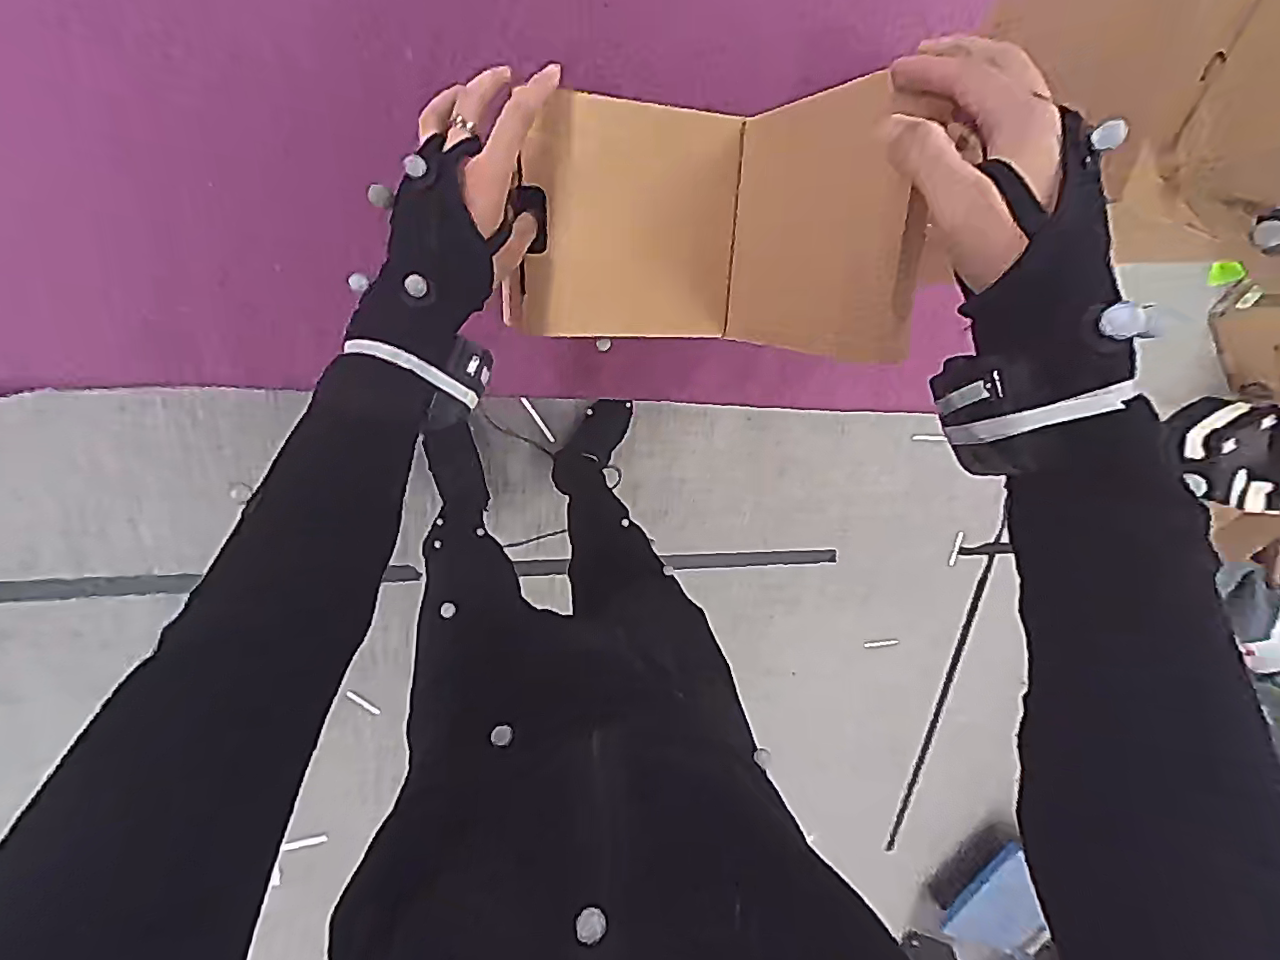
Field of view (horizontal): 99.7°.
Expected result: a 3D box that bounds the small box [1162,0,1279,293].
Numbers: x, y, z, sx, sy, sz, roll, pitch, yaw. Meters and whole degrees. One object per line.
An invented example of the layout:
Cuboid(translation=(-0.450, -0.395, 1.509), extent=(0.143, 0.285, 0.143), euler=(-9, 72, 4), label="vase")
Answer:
Cuboid(translation=(0.440, -0.209, 0.275), extent=(0.168, 0.176, 0.179), euler=(22, 103, -23), label="small box")

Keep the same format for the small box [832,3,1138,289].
Cuboid(translation=(0.346, -0.324, 0.568), extent=(0.179, 0.176, 0.168), euler=(26, 100, -25), label="small box")
